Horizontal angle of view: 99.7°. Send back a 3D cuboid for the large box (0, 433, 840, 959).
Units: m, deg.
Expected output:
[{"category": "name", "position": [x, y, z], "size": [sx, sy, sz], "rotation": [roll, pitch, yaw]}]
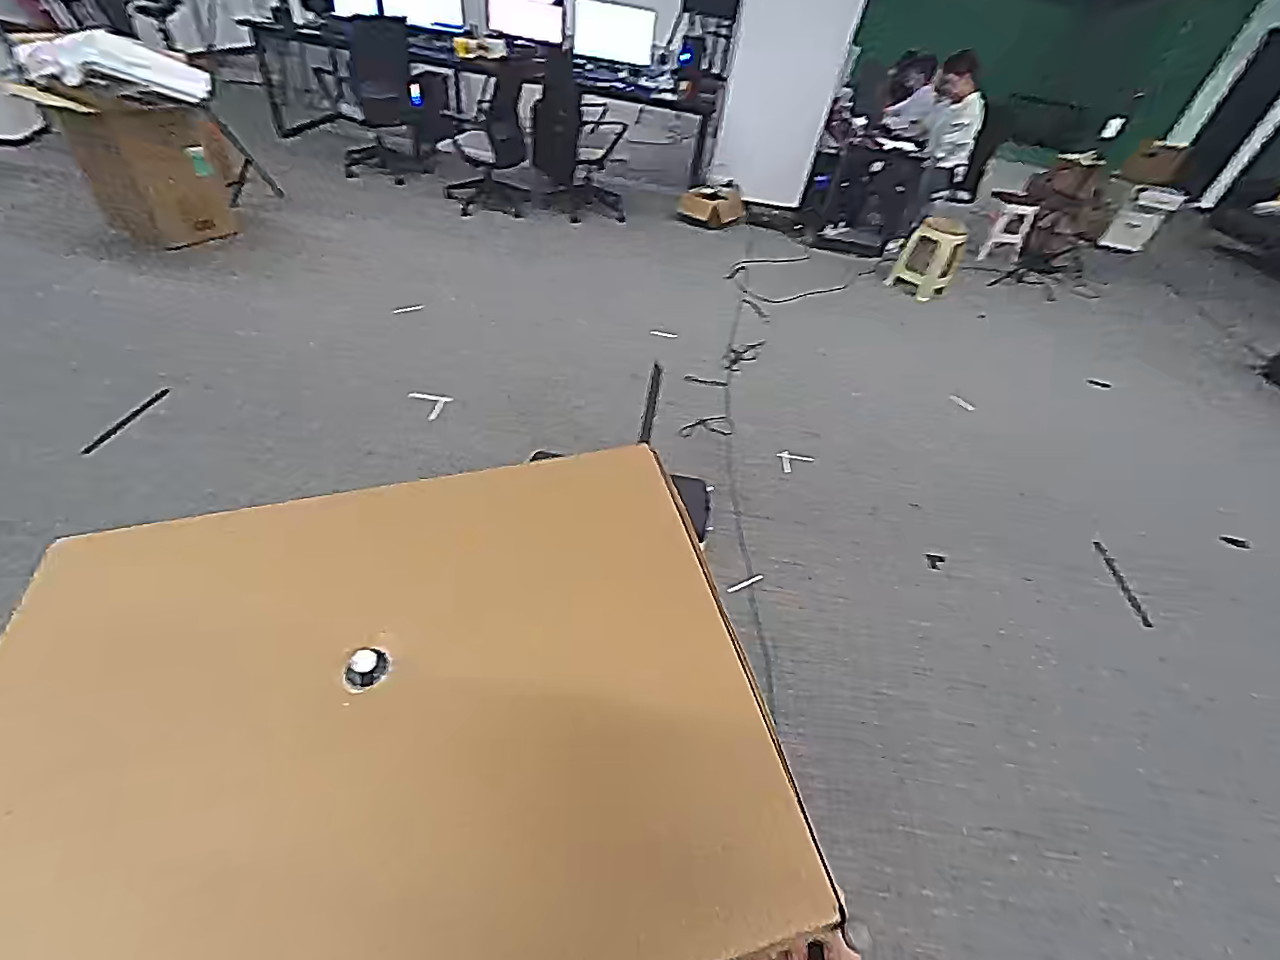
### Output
[{"category": "large box", "position": [-0.143, 0.201, 0.407], "size": [0.408, 0.320, 0.320], "rotation": [-10, 50, -11]}]
